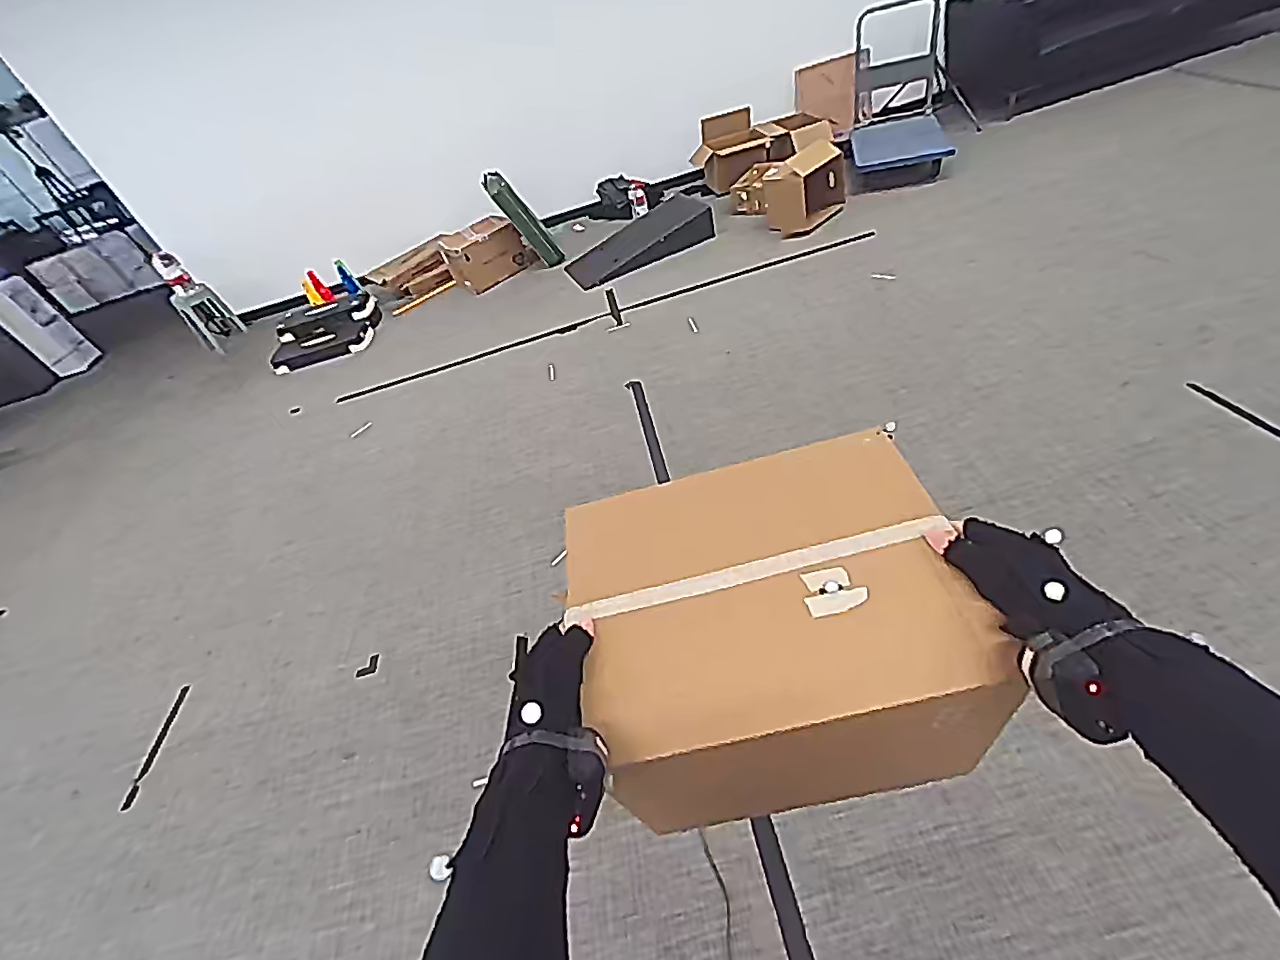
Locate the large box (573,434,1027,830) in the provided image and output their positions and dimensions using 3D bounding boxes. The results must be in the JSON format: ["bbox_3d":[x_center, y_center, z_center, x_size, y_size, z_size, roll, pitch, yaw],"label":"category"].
[{"bbox_3d":[0.157,0.199,0.685,0.408,0.320,0.320,-15,46,4],"label":"large box"}]
